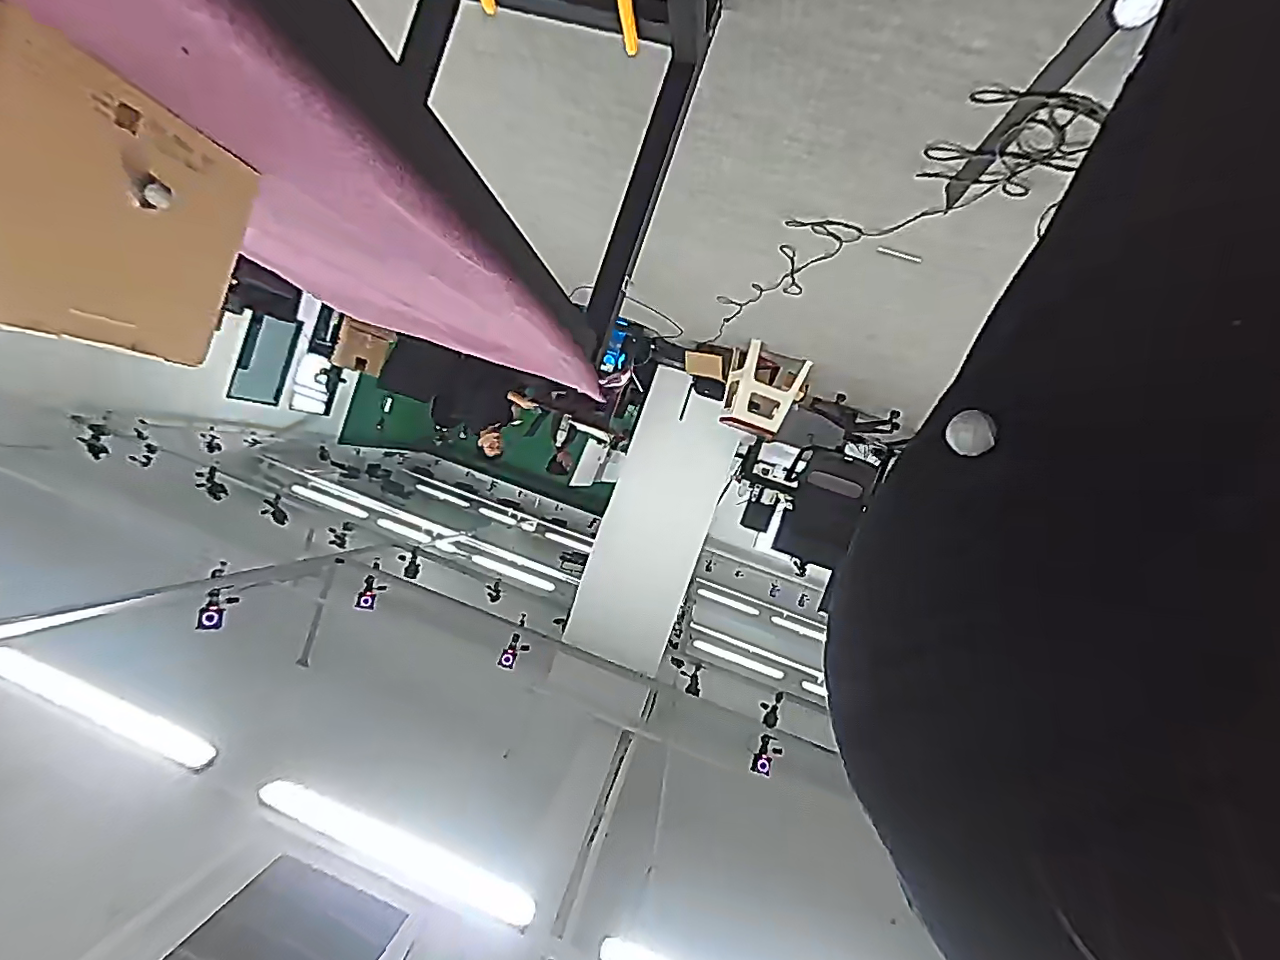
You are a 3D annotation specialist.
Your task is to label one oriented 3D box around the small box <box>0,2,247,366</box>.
[{"bbox_3d":[-0.420,-0.198,0.365,0.179,0.176,0.168,20,-177,4],"label":"small box"}]
